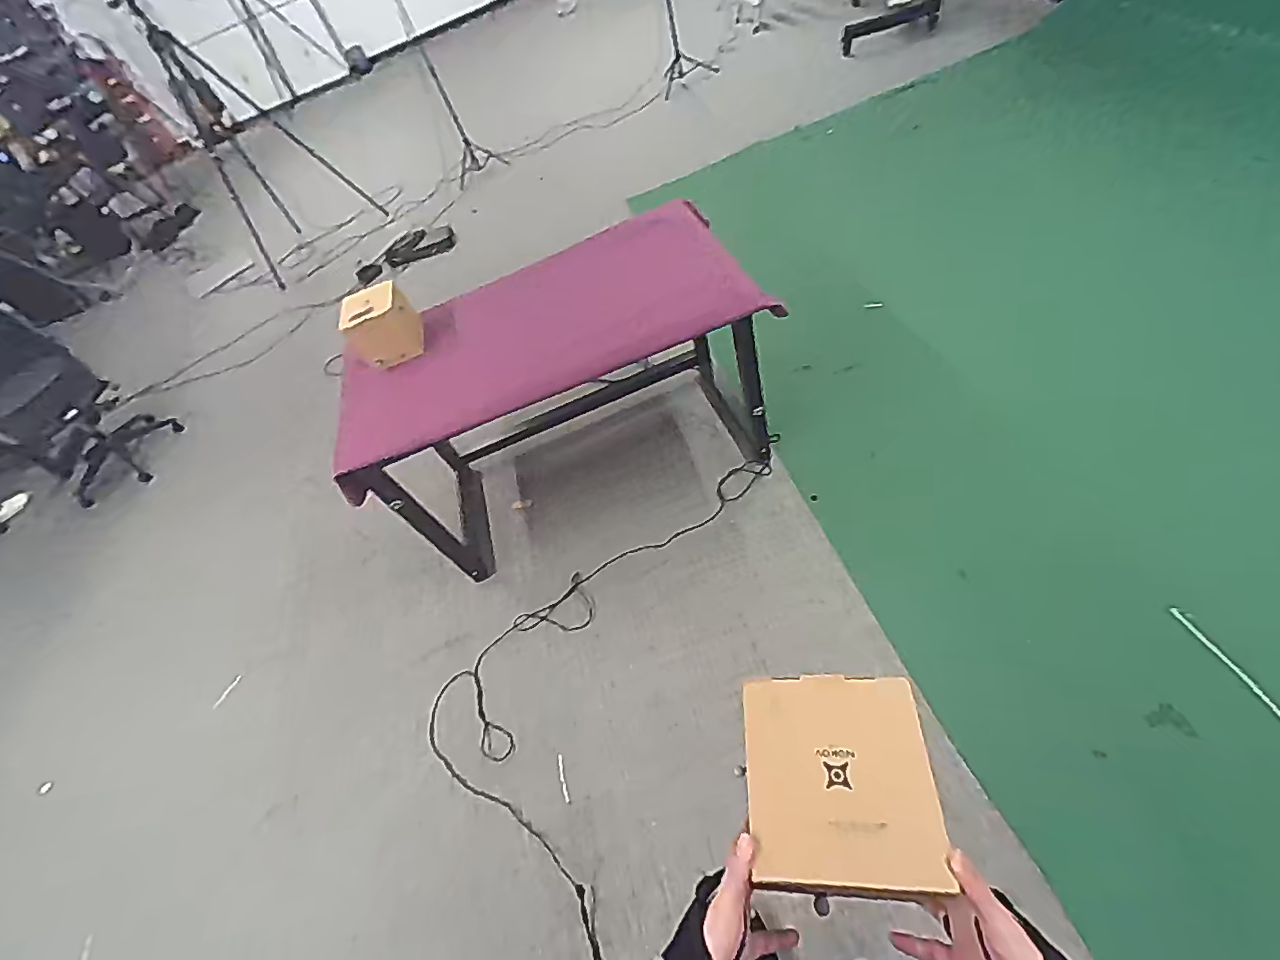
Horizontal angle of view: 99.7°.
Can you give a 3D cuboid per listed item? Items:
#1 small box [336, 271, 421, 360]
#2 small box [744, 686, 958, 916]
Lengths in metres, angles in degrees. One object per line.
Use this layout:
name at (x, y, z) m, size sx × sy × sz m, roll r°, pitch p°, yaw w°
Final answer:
small box at (-0.773, -0.481, 1.614) m, size 0.168 × 0.176 × 0.179 m, roll -20°, pitch 52°, yaw 2°
small box at (0.194, 0.329, 0.557) m, size 0.168 × 0.176 × 0.179 m, roll -3°, pitch 51°, yaw 10°
